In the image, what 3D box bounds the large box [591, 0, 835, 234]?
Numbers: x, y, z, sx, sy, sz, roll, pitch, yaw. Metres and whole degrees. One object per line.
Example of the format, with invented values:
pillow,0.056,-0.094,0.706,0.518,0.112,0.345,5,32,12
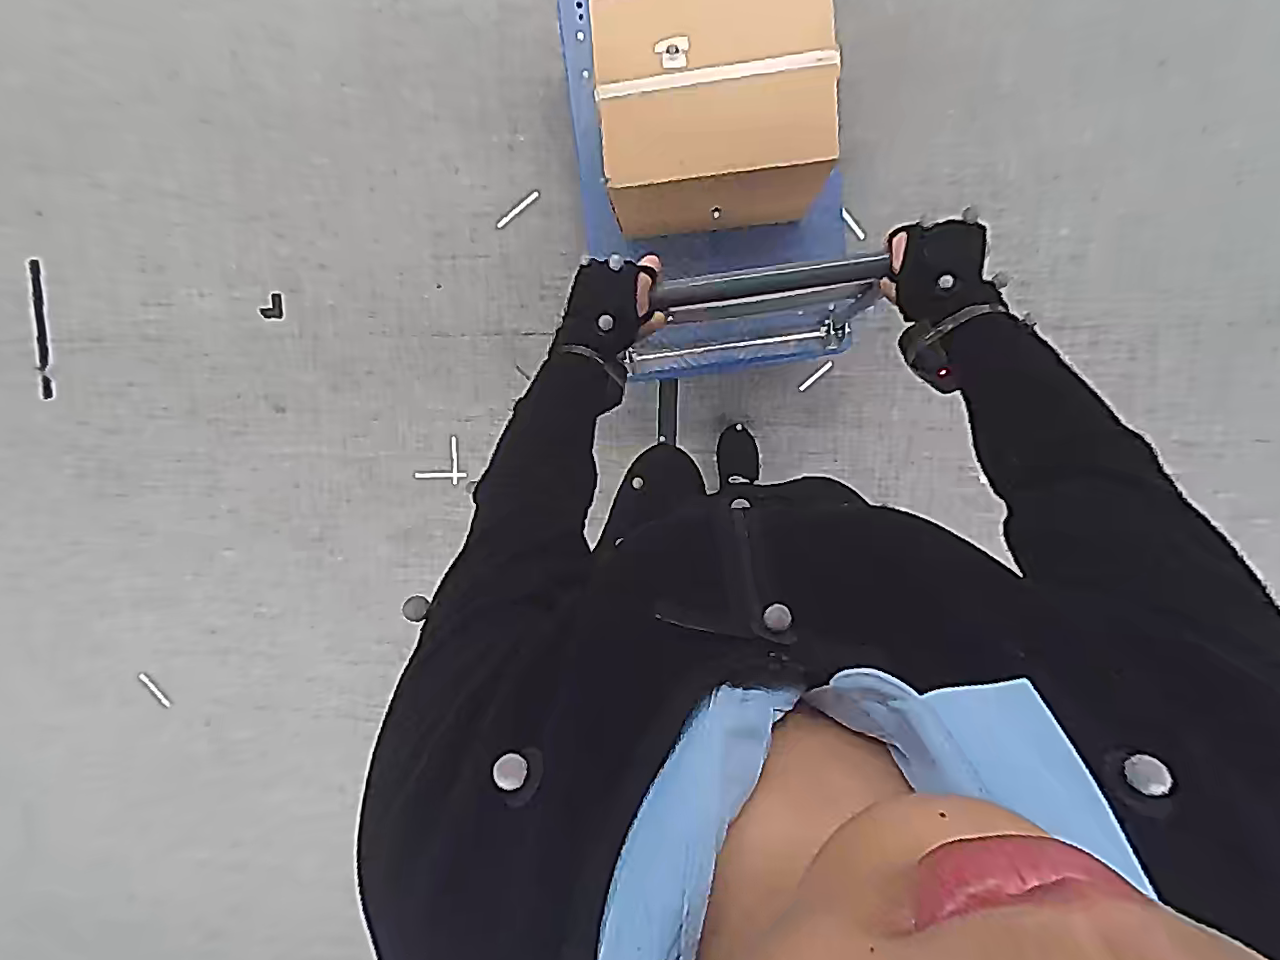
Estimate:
large box,0.141,-0.715,1.078,0.408,0.320,0.320,-4,97,6
